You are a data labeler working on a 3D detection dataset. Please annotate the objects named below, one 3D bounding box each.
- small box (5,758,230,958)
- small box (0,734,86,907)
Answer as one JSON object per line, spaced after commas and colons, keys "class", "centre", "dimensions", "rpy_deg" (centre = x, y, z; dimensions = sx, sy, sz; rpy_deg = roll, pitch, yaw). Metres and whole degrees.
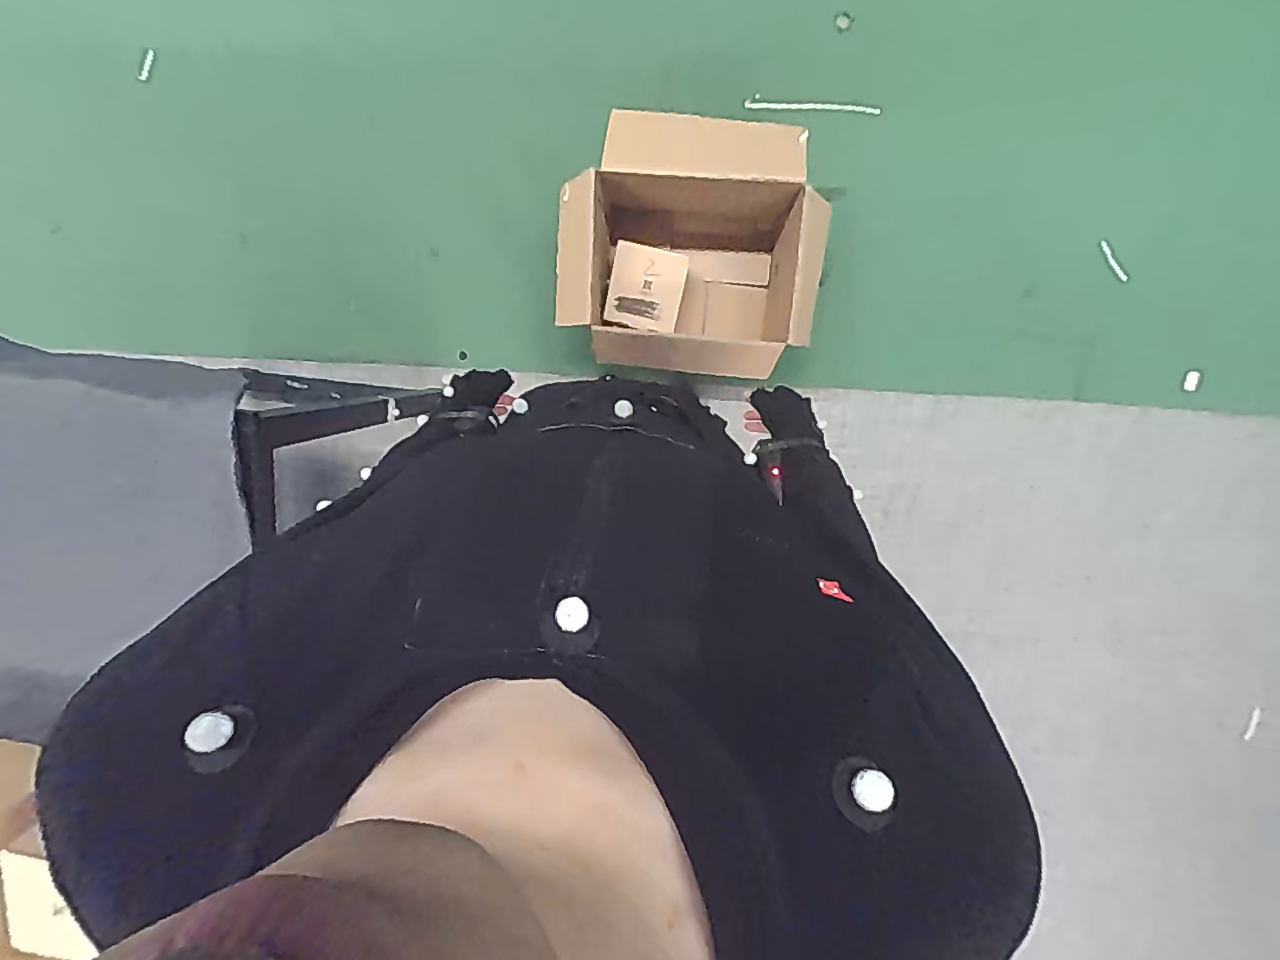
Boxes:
{"class": "small box", "centre": [-0.765, 0.550, 0.809], "dimensions": [0.179, 0.176, 0.168], "rpy_deg": [9, 103, 1]}
{"class": "small box", "centre": [-0.991, 0.512, 0.811], "dimensions": [0.179, 0.176, 0.168], "rpy_deg": [10, 103, 0]}
